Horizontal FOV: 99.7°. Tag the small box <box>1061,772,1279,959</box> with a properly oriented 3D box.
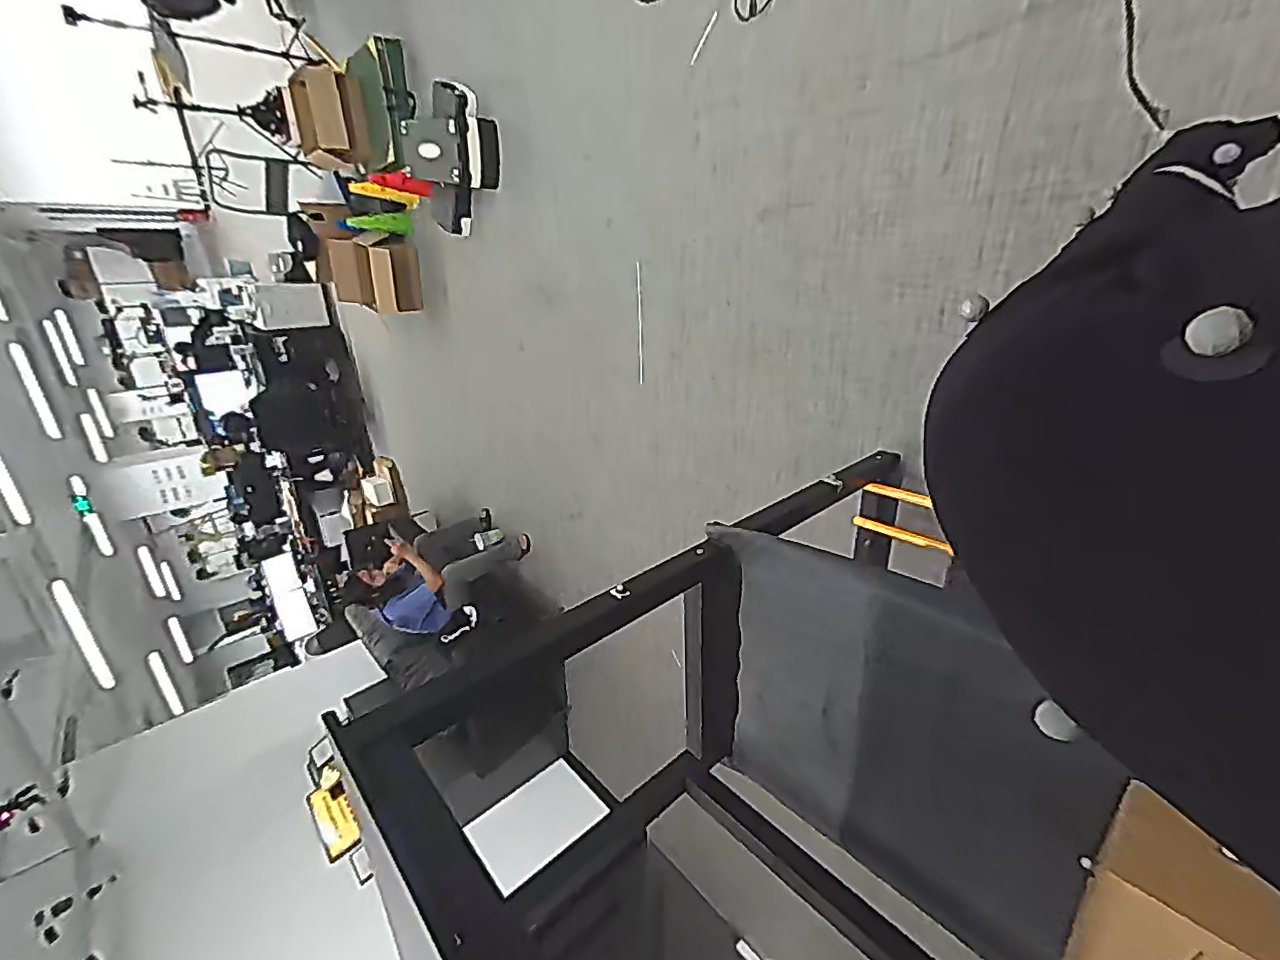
[{"bbox_3d":[0.616,0.483,0.609,0.168,0.176,0.179,21,121,43],"label":"small box"}]
